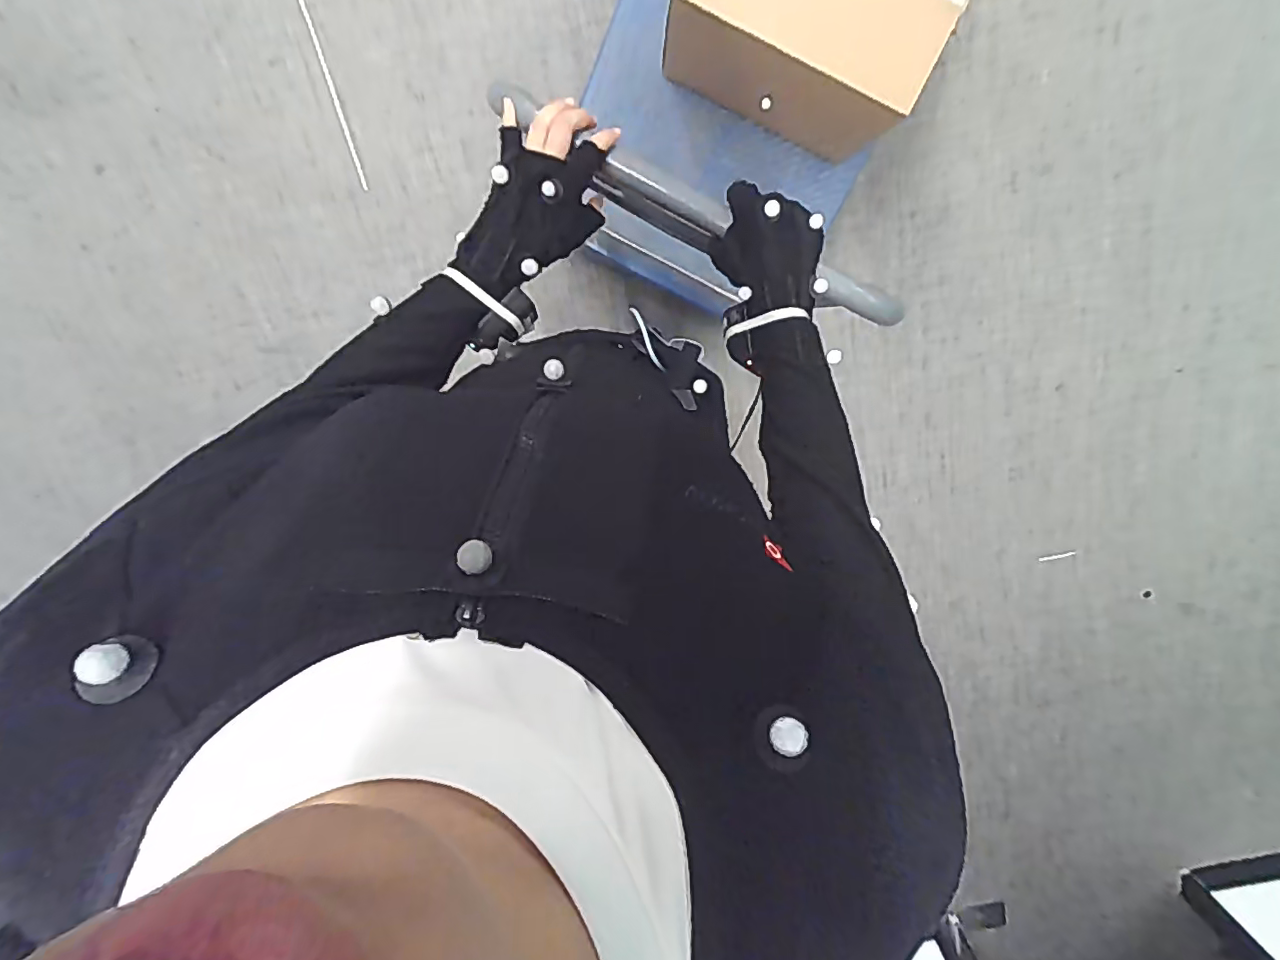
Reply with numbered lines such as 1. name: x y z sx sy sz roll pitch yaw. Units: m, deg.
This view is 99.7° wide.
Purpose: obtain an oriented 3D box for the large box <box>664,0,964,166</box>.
1. large box: 0.285 -0.800 0.915 0.408 0.320 0.320 21 106 -7
